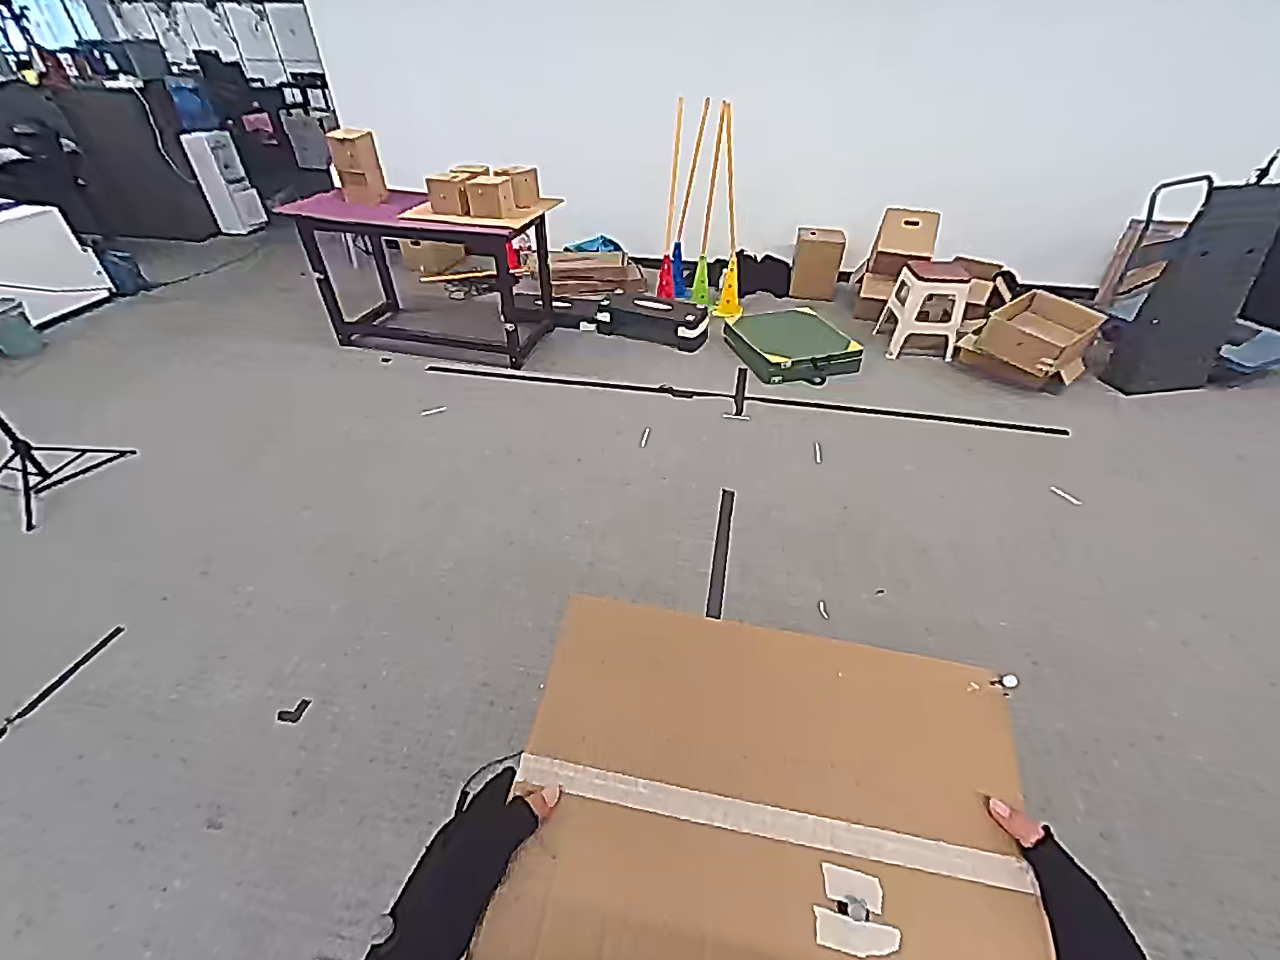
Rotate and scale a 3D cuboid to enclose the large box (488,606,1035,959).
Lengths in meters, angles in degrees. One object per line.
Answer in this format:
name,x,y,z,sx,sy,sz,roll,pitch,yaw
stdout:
large box,0.104,0.362,0.569,0.408,0.320,0.320,9,57,7
